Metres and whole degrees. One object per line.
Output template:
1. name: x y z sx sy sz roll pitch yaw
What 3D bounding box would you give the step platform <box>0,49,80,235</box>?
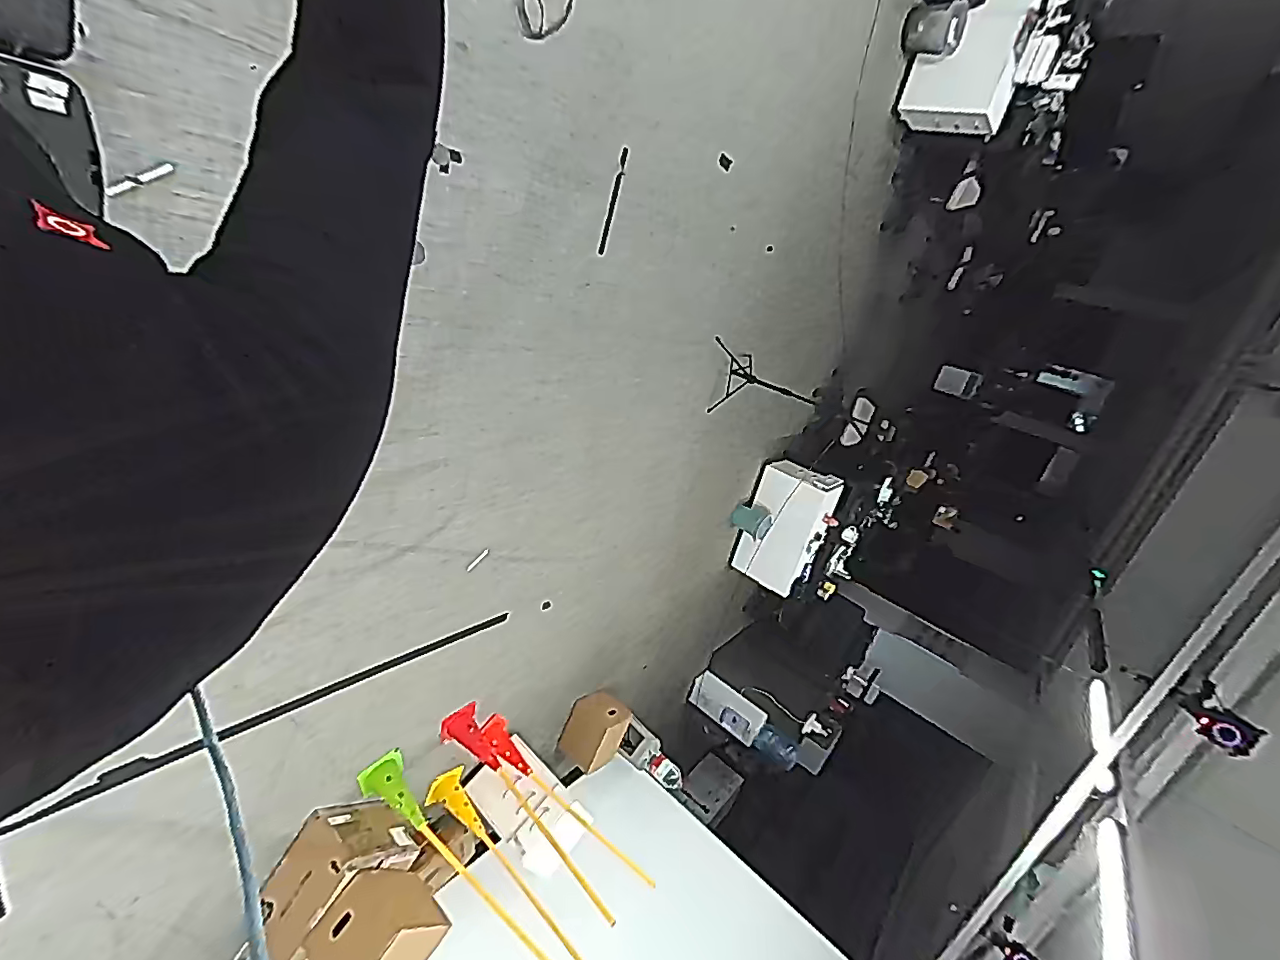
1. step platform: -1.286 -0.555 0.767 0.684 0.204 0.286 -15 126 -48
